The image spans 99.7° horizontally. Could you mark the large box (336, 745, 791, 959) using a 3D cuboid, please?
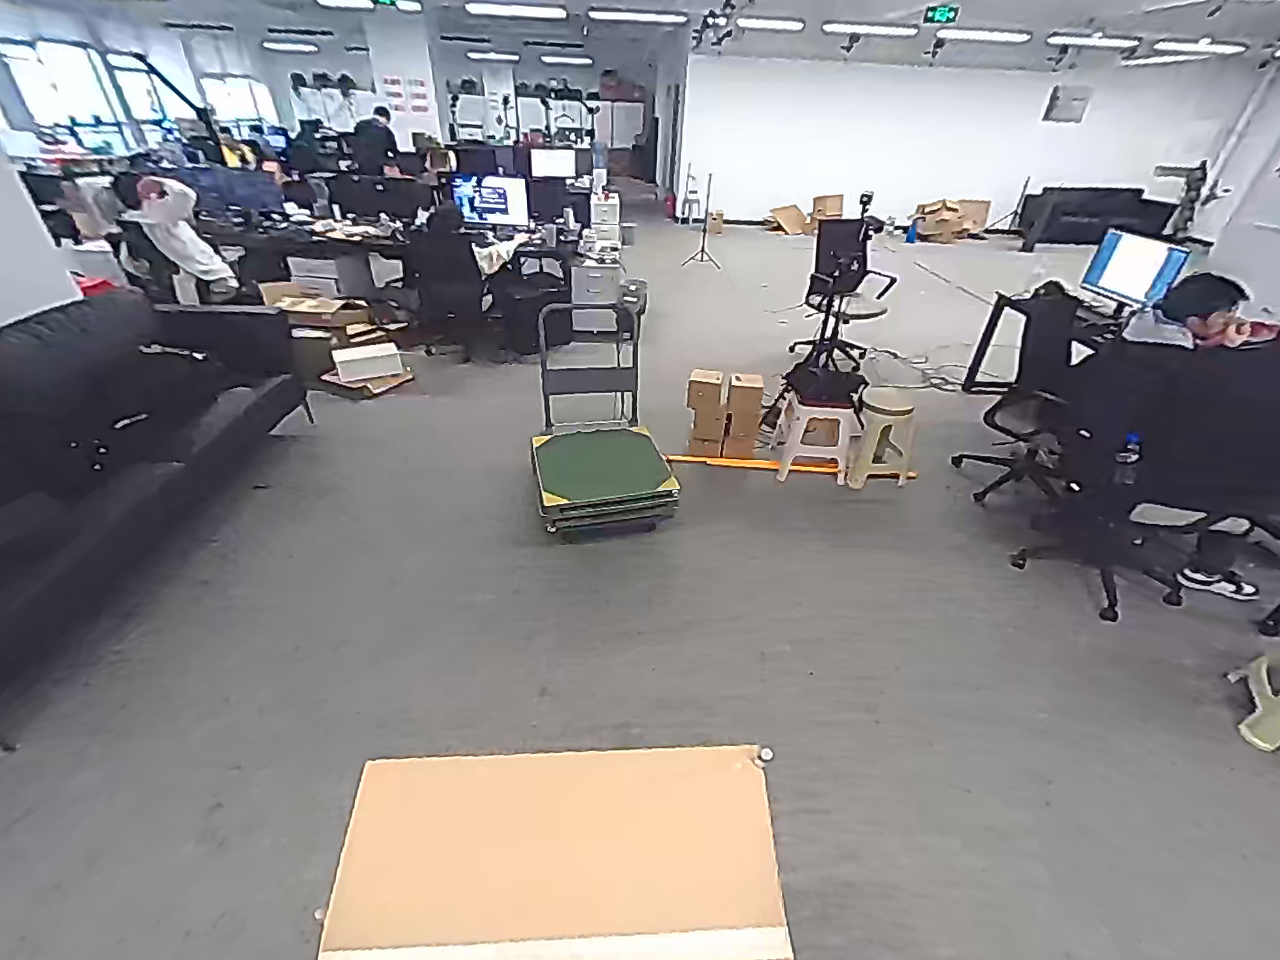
[{"bbox_3d":[-0.071,0.501,0.591,0.408,0.320,0.320,-2,54,-2],"label":"large box"}]
